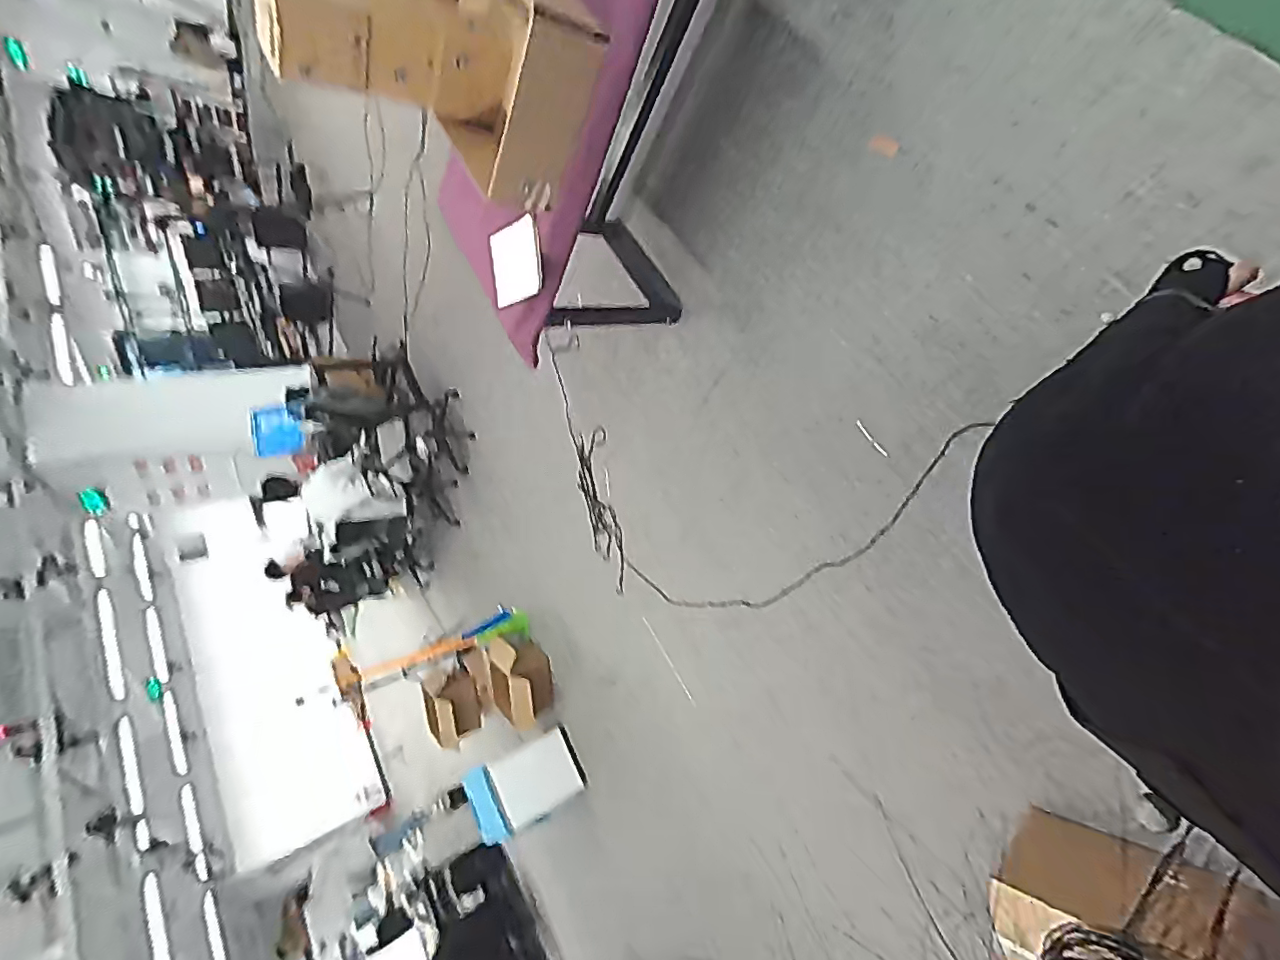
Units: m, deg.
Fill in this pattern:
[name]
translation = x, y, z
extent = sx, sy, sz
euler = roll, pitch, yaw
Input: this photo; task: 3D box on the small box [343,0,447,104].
[small box]
translation = -0.564, -1.004, 1.245
extent = 0.179, 0.176, 0.168
euler = 59, 140, 17
